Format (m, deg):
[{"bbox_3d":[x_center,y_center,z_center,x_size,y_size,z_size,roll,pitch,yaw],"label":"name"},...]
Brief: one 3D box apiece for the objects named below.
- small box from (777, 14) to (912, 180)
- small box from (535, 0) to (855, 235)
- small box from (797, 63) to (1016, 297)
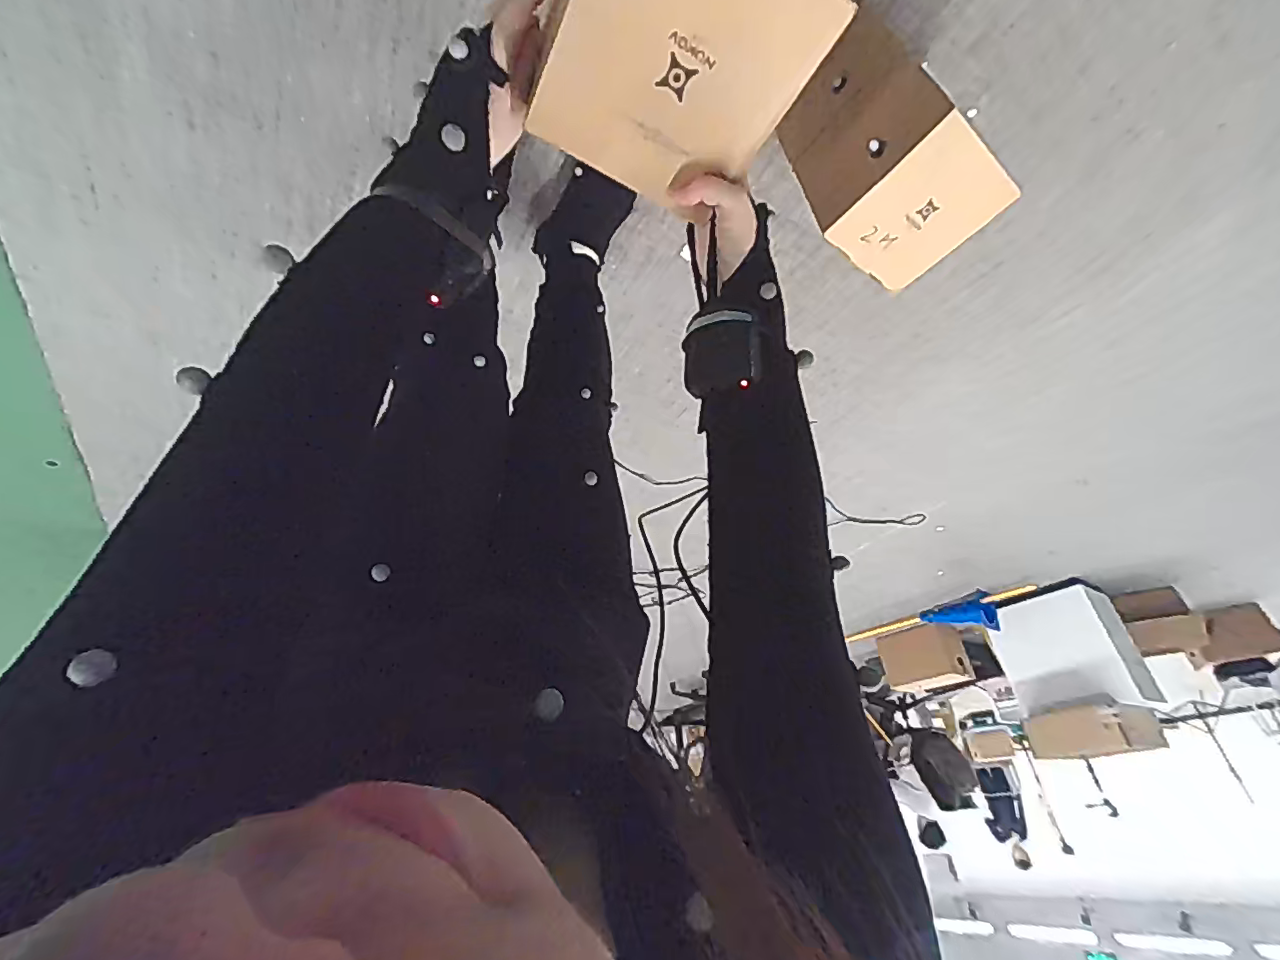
[{"bbox_3d":[0.317,-0.523,0.797,0.168,0.176,0.179,20,140,-34],"label":"small box"},{"bbox_3d":[0.028,-0.344,0.424,0.168,0.176,0.179,16,143,-26],"label":"small box"},{"bbox_3d":[0.334,-0.387,0.707,0.168,0.176,0.179,19,140,-32],"label":"small box"}]
